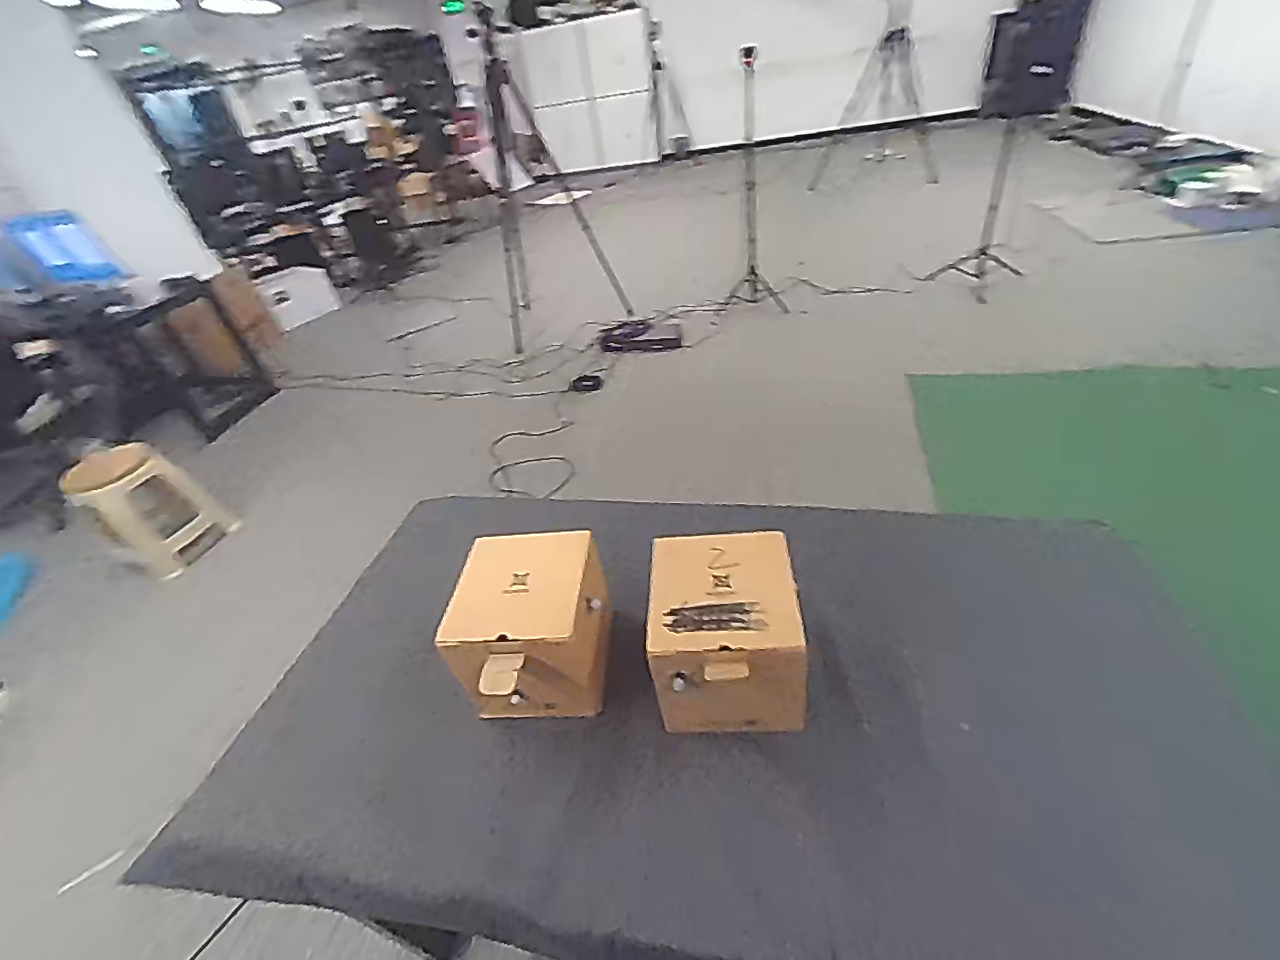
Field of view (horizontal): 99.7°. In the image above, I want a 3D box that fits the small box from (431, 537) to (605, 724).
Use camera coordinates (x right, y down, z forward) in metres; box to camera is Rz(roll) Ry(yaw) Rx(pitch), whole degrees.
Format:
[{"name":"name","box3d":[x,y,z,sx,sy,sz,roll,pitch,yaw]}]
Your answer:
[{"name":"small box","box3d":[-0.145,0.199,0.721,0.168,0.176,0.179,-5,38,7]}]
